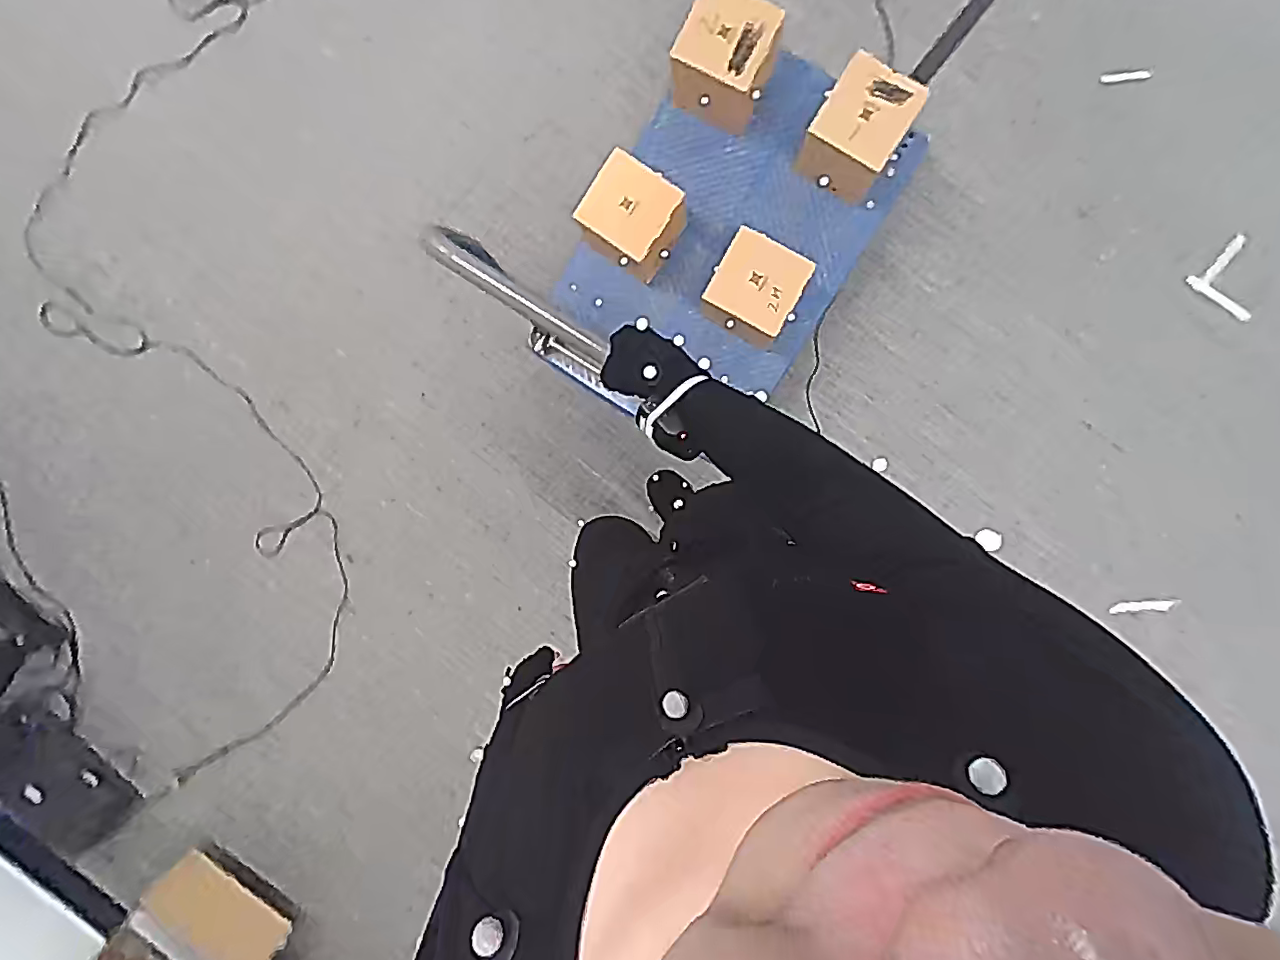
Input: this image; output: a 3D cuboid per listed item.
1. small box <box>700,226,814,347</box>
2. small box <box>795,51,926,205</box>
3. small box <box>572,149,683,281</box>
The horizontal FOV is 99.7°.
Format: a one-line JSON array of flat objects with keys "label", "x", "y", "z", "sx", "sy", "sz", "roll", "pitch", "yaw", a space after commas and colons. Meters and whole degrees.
[{"label": "small box", "x": 0.243, "y": -0.407, "z": 1.173, "sx": 0.179, "sy": 0.176, "sz": 0.168, "roll": 30, "pitch": 97, "yaw": 2}, {"label": "small box", "x": 0.446, "y": -0.721, "z": 1.129, "sx": 0.168, "sy": 0.176, "sz": 0.179, "roll": 33, "pitch": 98, "yaw": 2}, {"label": "small box", "x": -0.022, "y": -0.566, "z": 1.185, "sx": 0.179, "sy": 0.176, "sz": 0.168, "roll": 34, "pitch": 96, "yaw": 0}]
